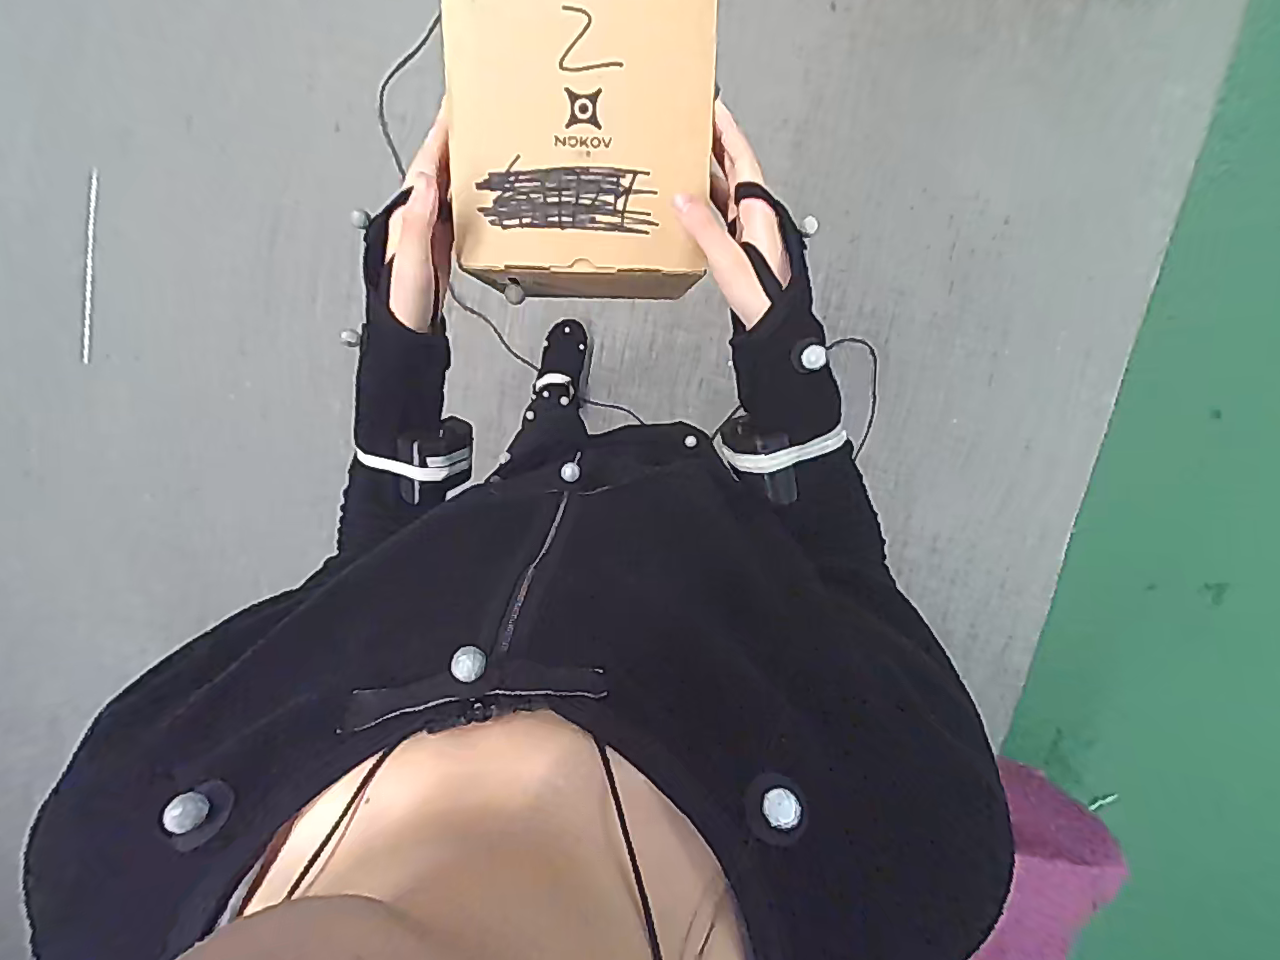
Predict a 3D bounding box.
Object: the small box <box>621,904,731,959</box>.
[{"bbox_3d":[0.053,0.797,0.816,0.168,0.176,0.179,3,98,-1],"label":"small box"}]
